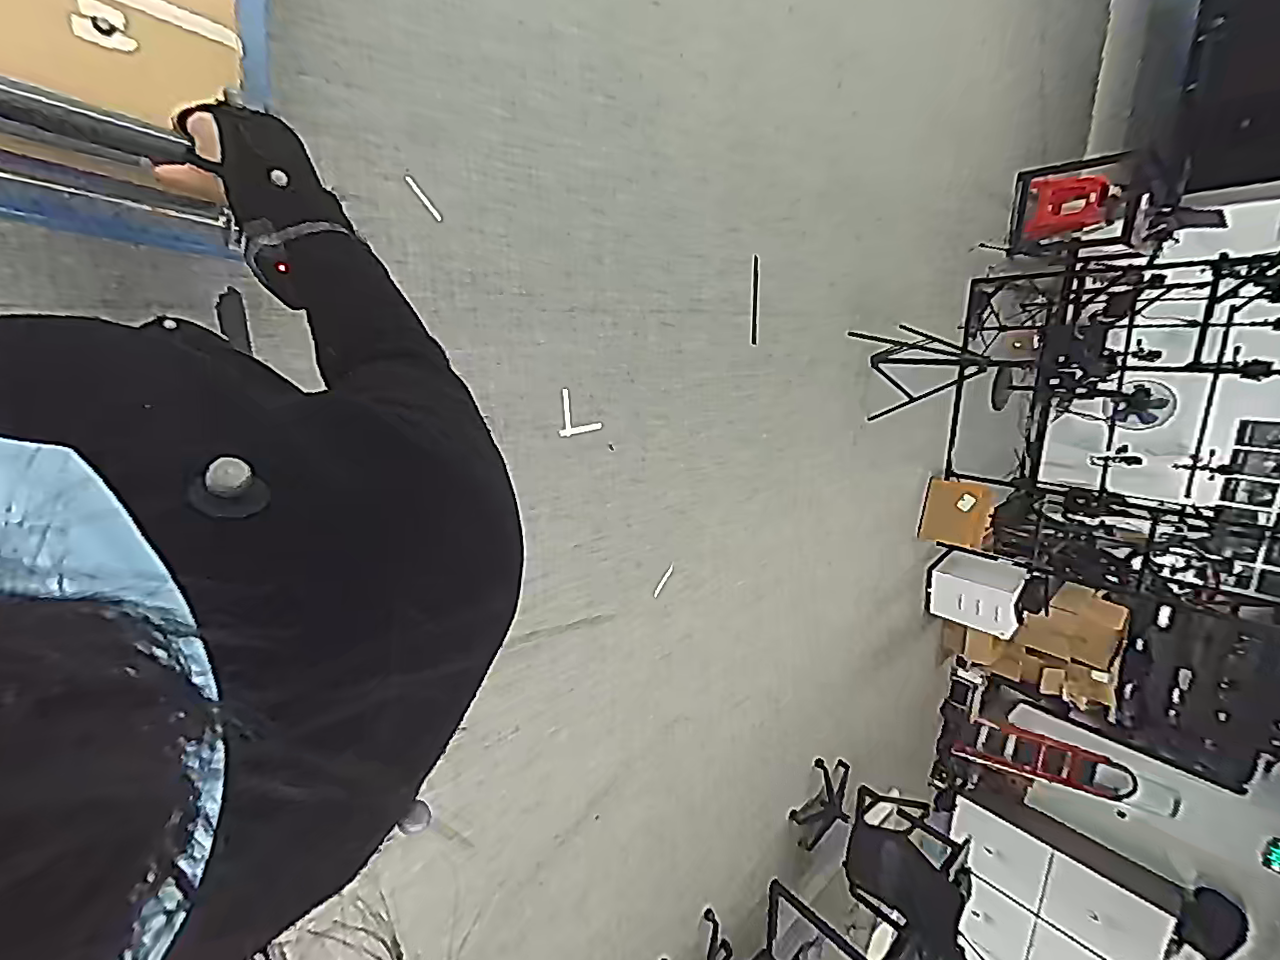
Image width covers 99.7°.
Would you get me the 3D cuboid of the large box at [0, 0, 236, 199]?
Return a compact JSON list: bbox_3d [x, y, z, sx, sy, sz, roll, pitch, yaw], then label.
[{"bbox_3d":[-0.813,-0.620,0.720,0.408,0.320,0.320,-3,103,-43],"label":"large box"}]
